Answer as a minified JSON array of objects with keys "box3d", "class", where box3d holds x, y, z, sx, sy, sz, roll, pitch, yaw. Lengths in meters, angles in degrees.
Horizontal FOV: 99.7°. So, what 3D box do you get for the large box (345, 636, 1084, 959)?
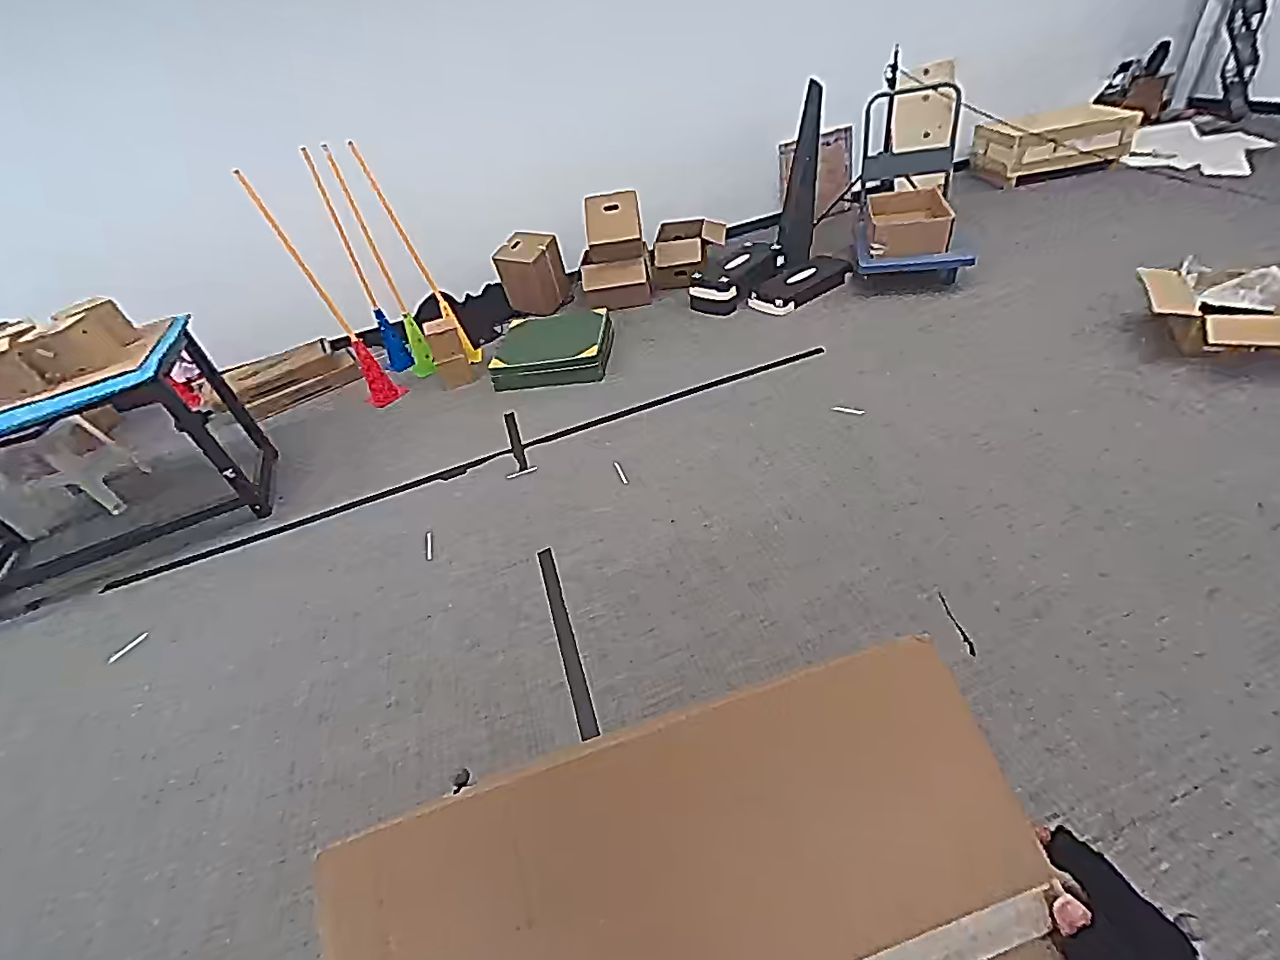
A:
[{"box3d":[0.054,0.359,0.433,0.408,0.320,0.320,-17,68,-7],"class":"large box"}]
